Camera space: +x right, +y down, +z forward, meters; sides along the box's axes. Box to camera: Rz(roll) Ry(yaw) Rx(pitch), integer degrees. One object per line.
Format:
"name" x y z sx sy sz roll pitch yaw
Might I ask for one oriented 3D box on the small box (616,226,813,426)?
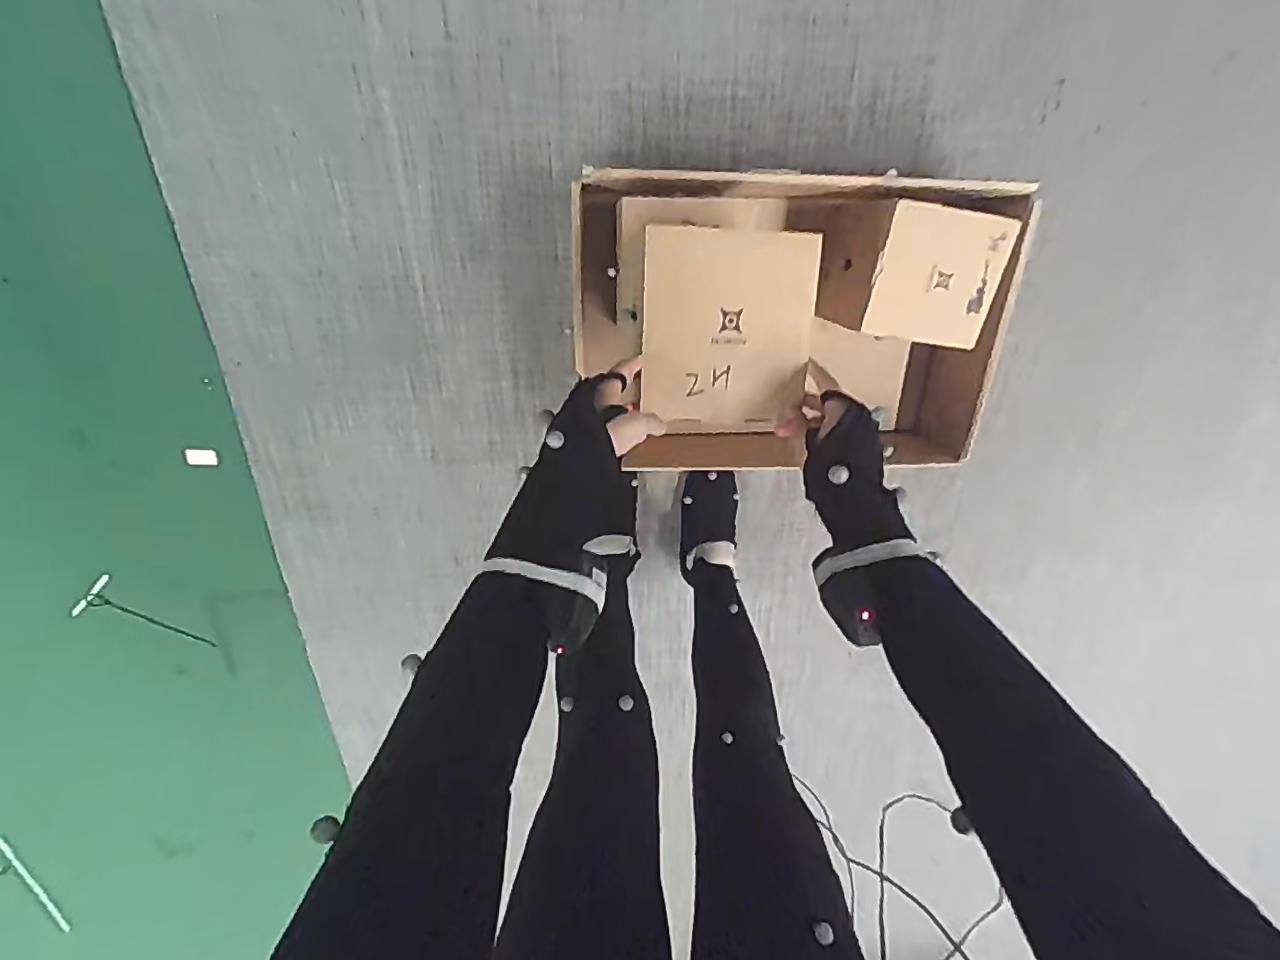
"small box" 0.064 -0.161 0.579 0.168 0.176 0.179 0 108 -8
